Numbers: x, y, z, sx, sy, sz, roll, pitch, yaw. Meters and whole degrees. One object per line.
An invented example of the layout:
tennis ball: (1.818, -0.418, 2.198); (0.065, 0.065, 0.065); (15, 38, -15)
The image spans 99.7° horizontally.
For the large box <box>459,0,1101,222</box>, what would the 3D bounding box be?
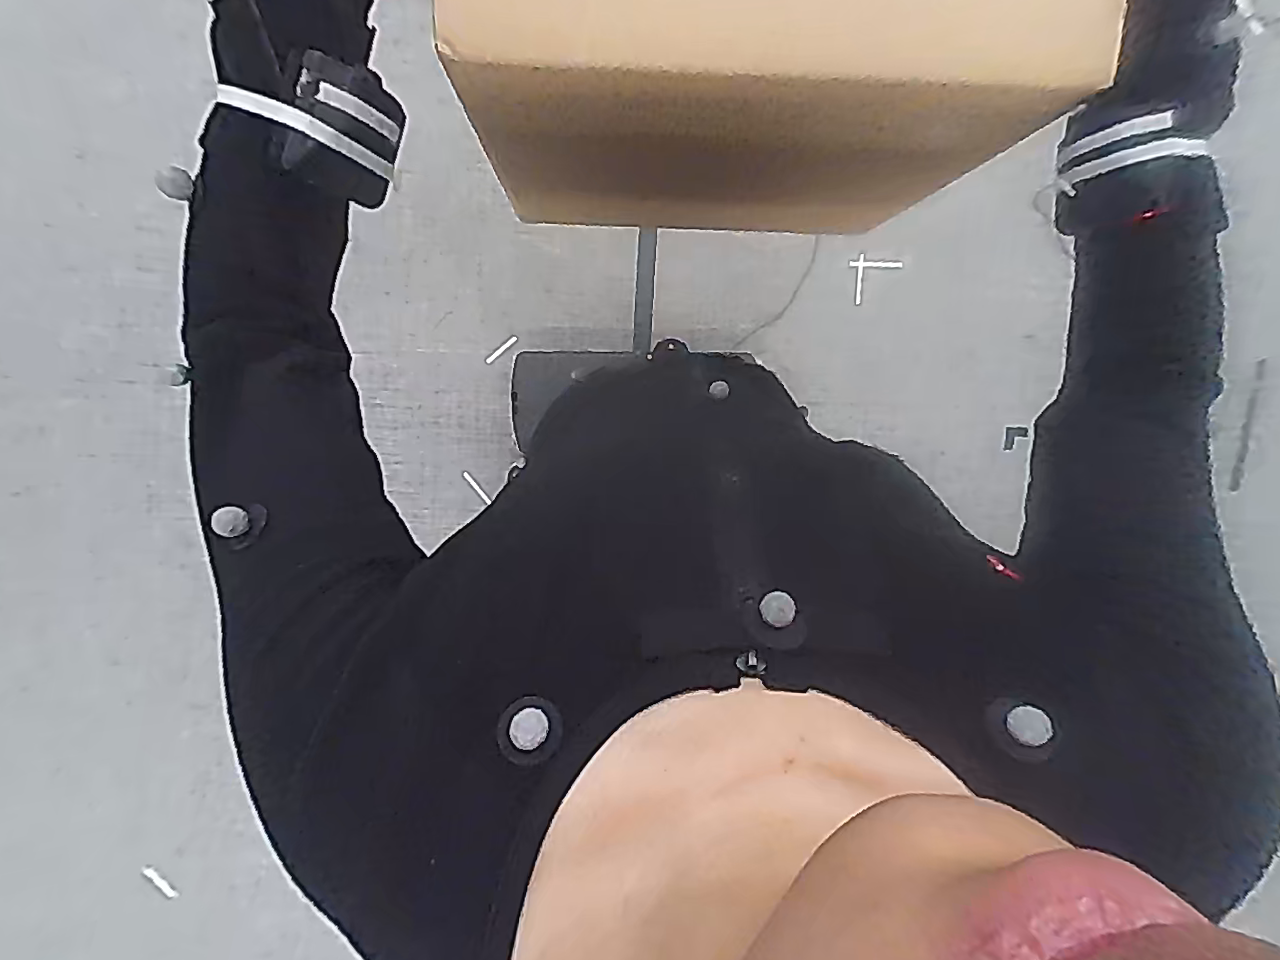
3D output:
large box: (0.077, -0.426, 0.453); (0.408, 0.320, 0.320); (-1, 100, -4)
